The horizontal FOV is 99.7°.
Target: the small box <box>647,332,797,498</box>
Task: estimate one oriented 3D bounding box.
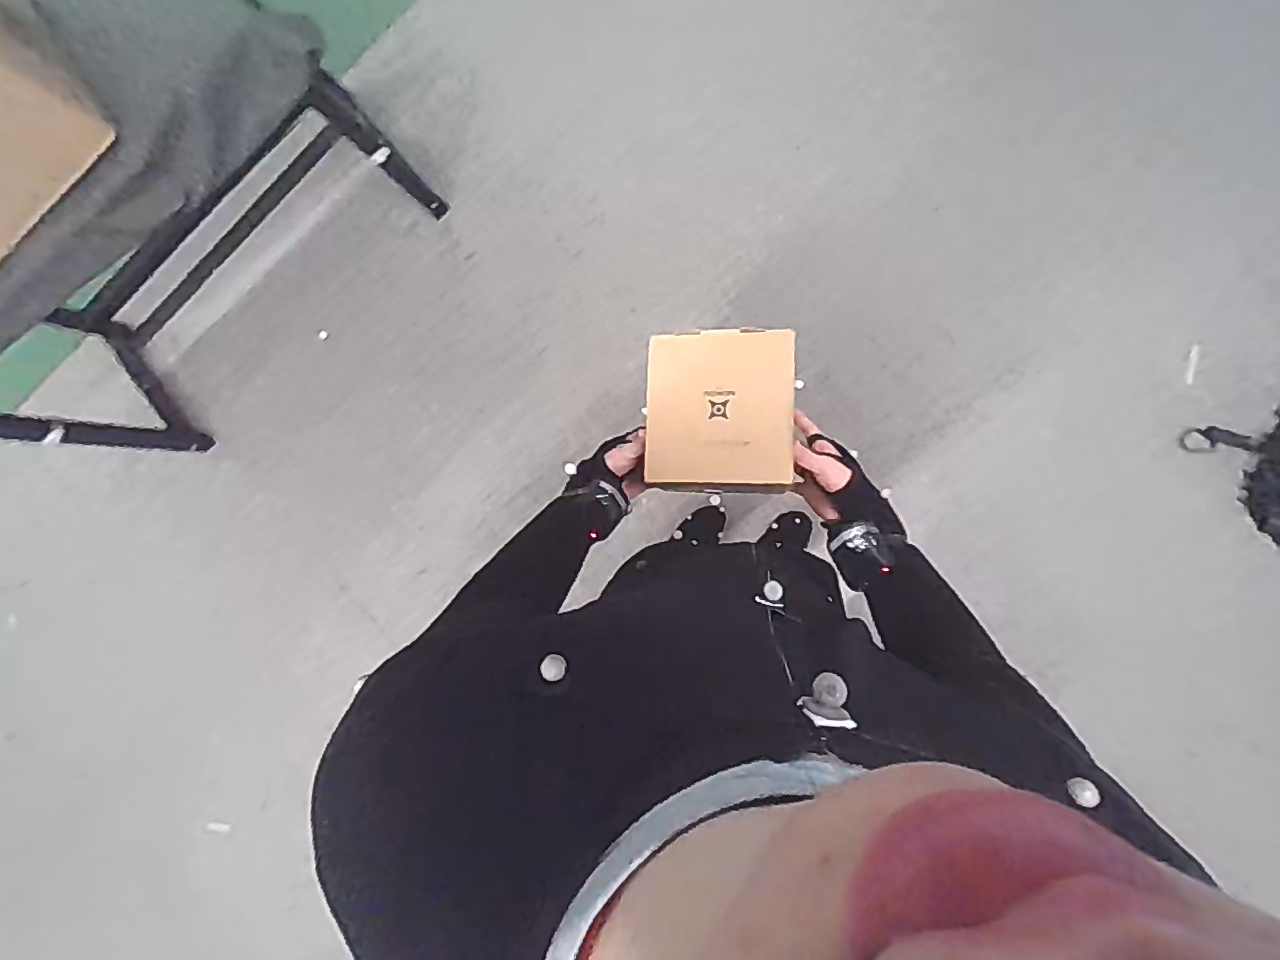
[{"bbox_3d":[0.107,-0.072,0.687,0.168,0.176,0.179,1,84,12],"label":"small box"}]
